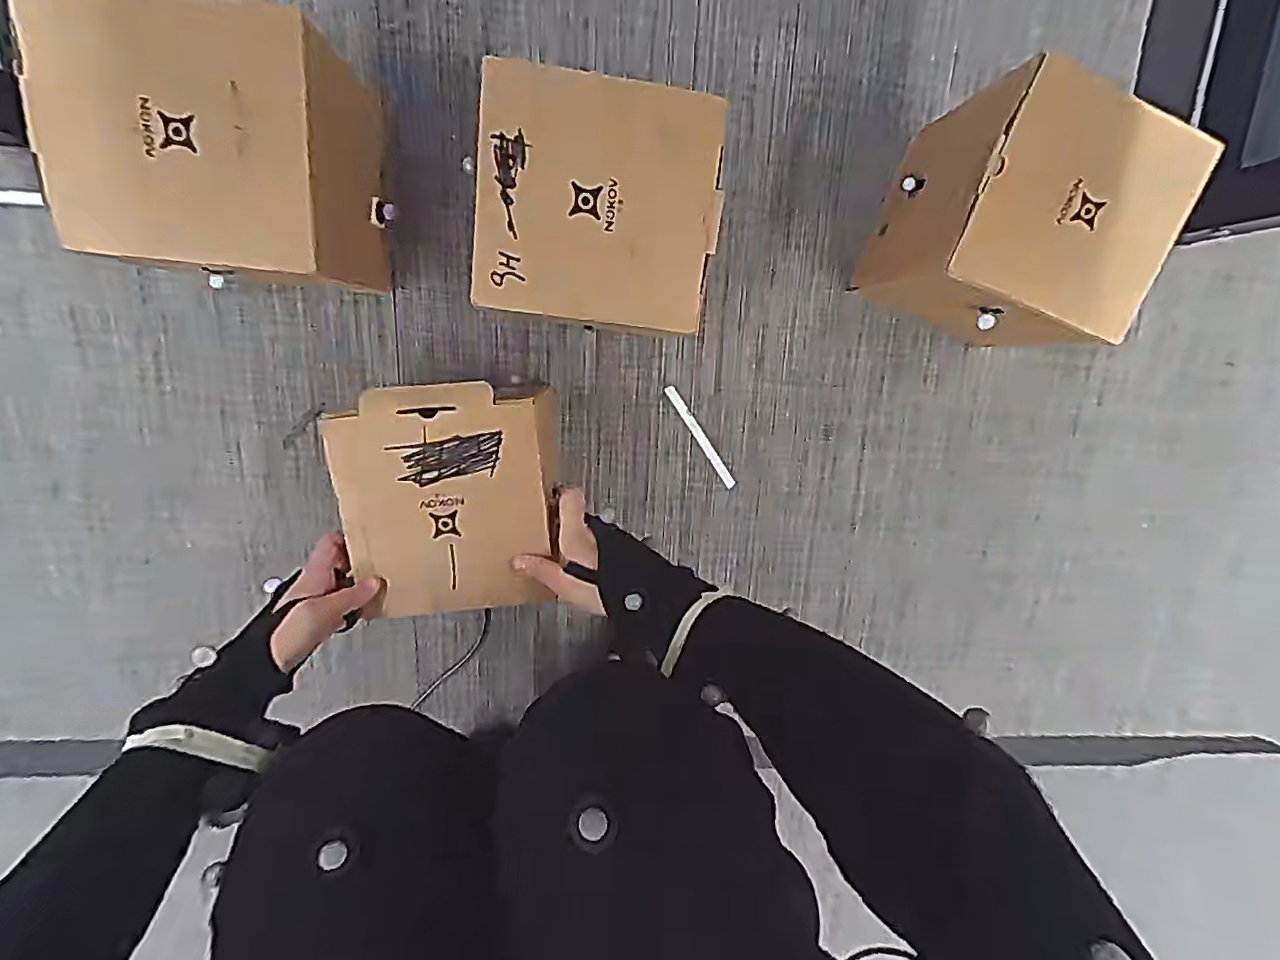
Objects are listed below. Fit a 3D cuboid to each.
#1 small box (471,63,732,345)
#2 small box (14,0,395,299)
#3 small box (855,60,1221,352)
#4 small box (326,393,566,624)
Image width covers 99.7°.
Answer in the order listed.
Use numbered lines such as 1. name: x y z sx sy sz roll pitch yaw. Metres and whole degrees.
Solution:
1. small box: -0.038 -0.214 0.470 0.179 0.176 0.168 6 104 -7
2. small box: -0.318 -0.245 0.438 0.179 0.176 0.168 4 104 -8
3. small box: 0.341 -0.229 0.502 0.179 0.176 0.168 18 102 -8
4. small box: -0.162 0.011 0.515 0.168 0.176 0.179 -5 105 -4
